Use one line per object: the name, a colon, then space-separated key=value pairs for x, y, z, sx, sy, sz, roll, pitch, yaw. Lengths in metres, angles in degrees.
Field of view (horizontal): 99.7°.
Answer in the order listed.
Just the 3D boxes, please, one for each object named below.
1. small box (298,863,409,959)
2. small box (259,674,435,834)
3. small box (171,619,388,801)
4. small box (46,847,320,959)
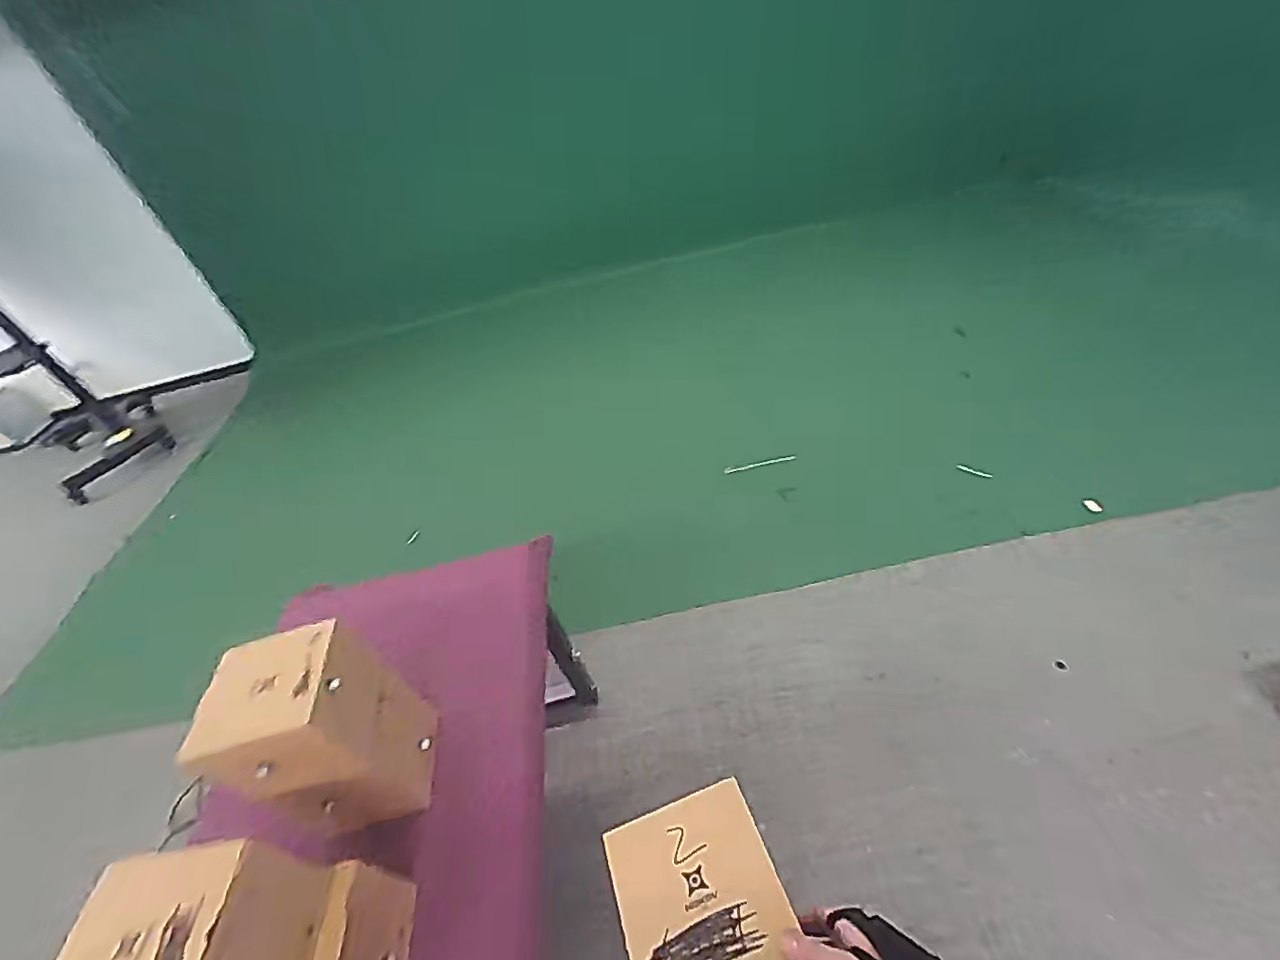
small box: x=-0.430 y=0.630 z=0.697 sx=0.179 sy=0.176 sz=0.168 roll=-14 pitch=41 yaw=0
small box: x=-0.467 y=0.455 z=0.893 sx=0.179 sy=0.176 sz=0.168 roll=-16 pitch=42 yaw=0
small box: x=-0.501 y=0.337 z=0.785 sx=0.179 sy=0.176 sz=0.168 roll=-17 pitch=42 yaw=0
small box: x=-0.492 y=0.523 z=0.583 sx=0.179 sy=0.176 sz=0.168 roll=-12 pitch=42 yaw=4
